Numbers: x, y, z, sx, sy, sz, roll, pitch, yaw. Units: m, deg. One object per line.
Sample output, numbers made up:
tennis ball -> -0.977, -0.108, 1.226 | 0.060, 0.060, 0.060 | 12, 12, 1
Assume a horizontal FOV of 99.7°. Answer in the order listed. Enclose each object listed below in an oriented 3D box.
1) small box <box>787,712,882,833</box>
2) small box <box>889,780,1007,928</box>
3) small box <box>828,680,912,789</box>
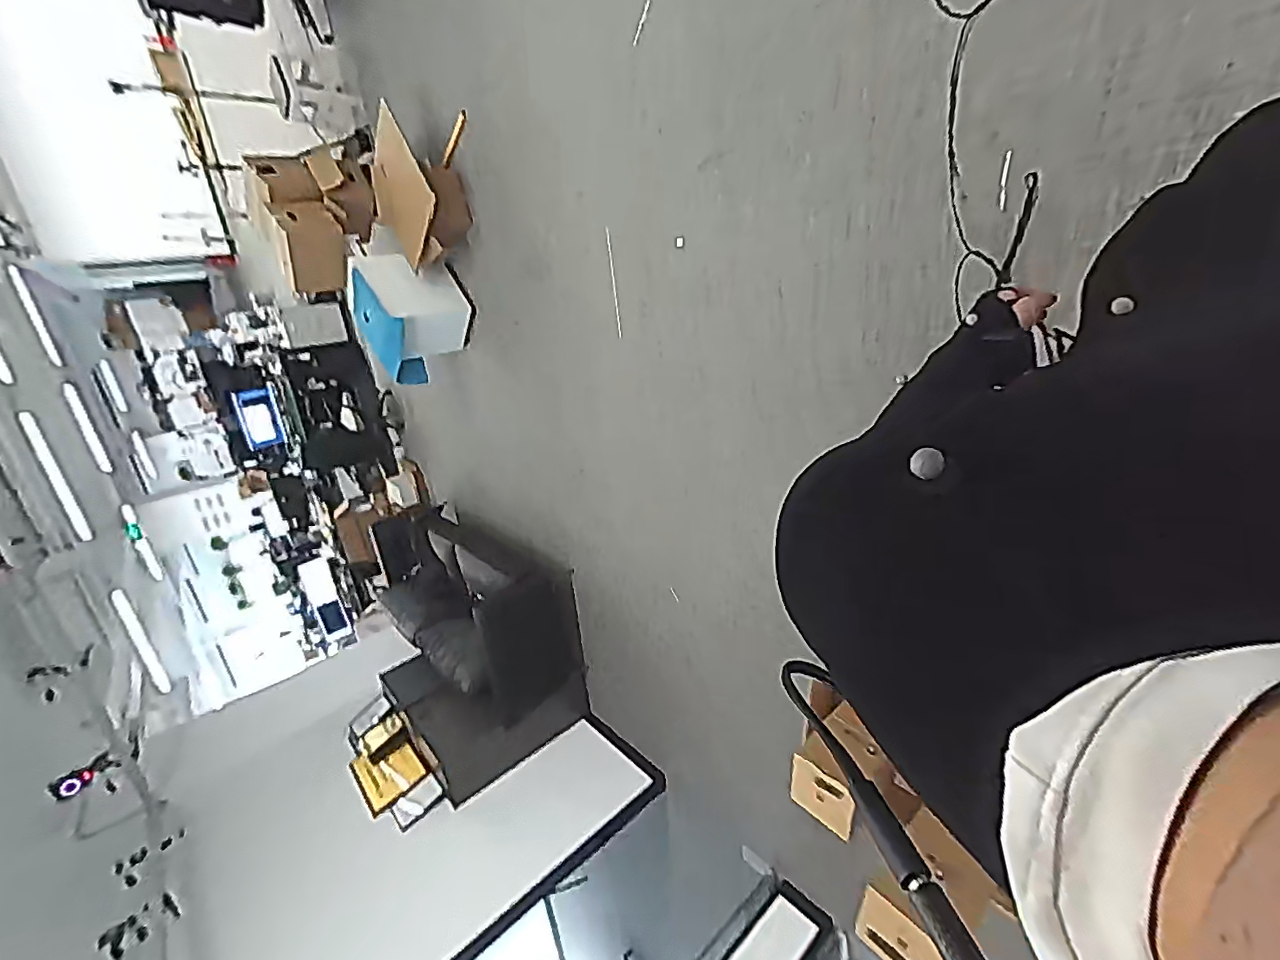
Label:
small box -> 0.504, 0.745, 1.397 | 0.168, 0.176, 0.179 | 23, 126, 44
small box -> 0.687, 0.820, 1.206 | 0.168, 0.176, 0.179 | 25, 126, 43
small box -> 0.627, 0.694, 1.495 | 0.168, 0.176, 0.179 | 23, 125, 43
